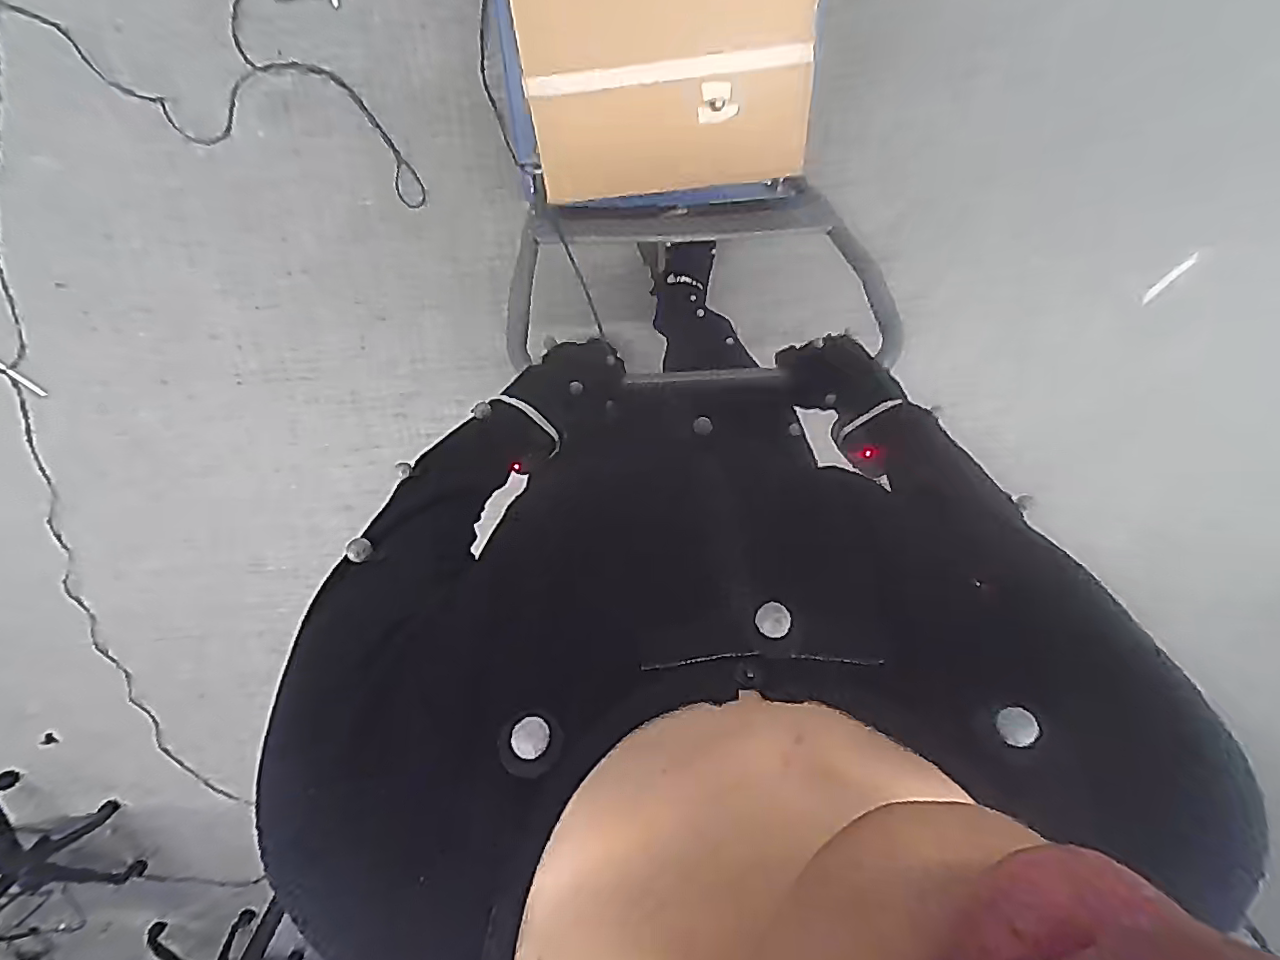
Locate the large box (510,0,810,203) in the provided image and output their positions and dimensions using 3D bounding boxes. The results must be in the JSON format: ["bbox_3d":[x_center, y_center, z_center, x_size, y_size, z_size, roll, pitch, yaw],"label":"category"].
[{"bbox_3d":[0.025,-0.685,0.877,0.408,0.320,0.320,-7,134,1],"label":"large box"}]
